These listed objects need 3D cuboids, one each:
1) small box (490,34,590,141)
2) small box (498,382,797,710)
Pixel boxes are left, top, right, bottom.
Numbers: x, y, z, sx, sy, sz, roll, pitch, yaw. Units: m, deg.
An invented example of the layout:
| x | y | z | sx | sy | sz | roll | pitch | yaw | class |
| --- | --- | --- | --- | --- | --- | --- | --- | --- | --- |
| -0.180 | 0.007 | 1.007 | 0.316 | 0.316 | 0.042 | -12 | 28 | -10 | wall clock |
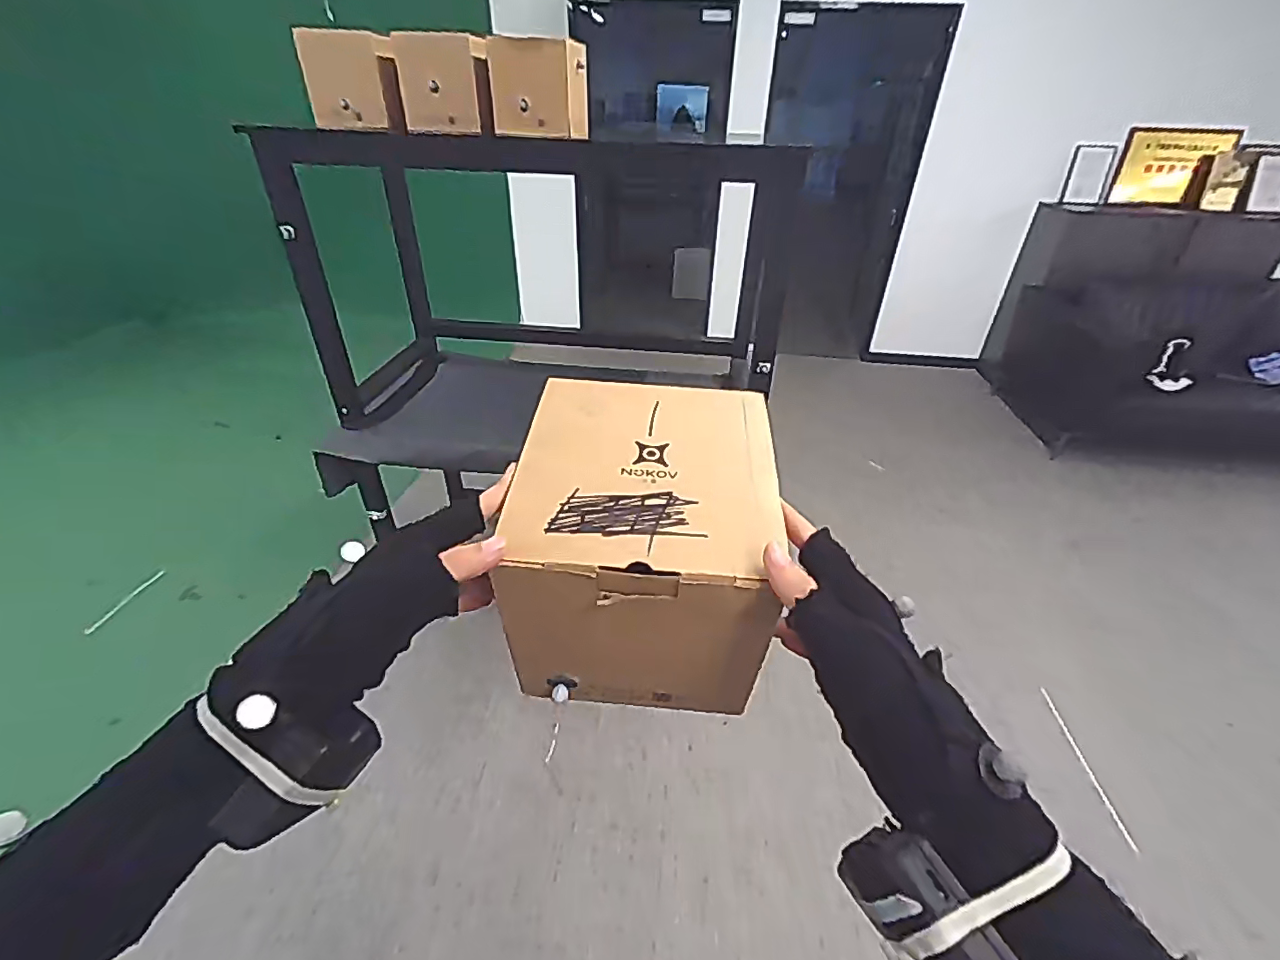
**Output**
| x | y | z | sx | sy | sz | roll | pitch | yaw | class |
| --- | --- | --- | --- | --- | --- | --- | --- | --- | --- |
| -0.205 | -0.832 | 1.156 | 0.168 | 0.176 | 0.179 | 6 | 35 | 5 | small box |
| 0.008 | 0.049 | 0.402 | 0.168 | 0.176 | 0.179 | 5 | 43 | 1 | small box |
